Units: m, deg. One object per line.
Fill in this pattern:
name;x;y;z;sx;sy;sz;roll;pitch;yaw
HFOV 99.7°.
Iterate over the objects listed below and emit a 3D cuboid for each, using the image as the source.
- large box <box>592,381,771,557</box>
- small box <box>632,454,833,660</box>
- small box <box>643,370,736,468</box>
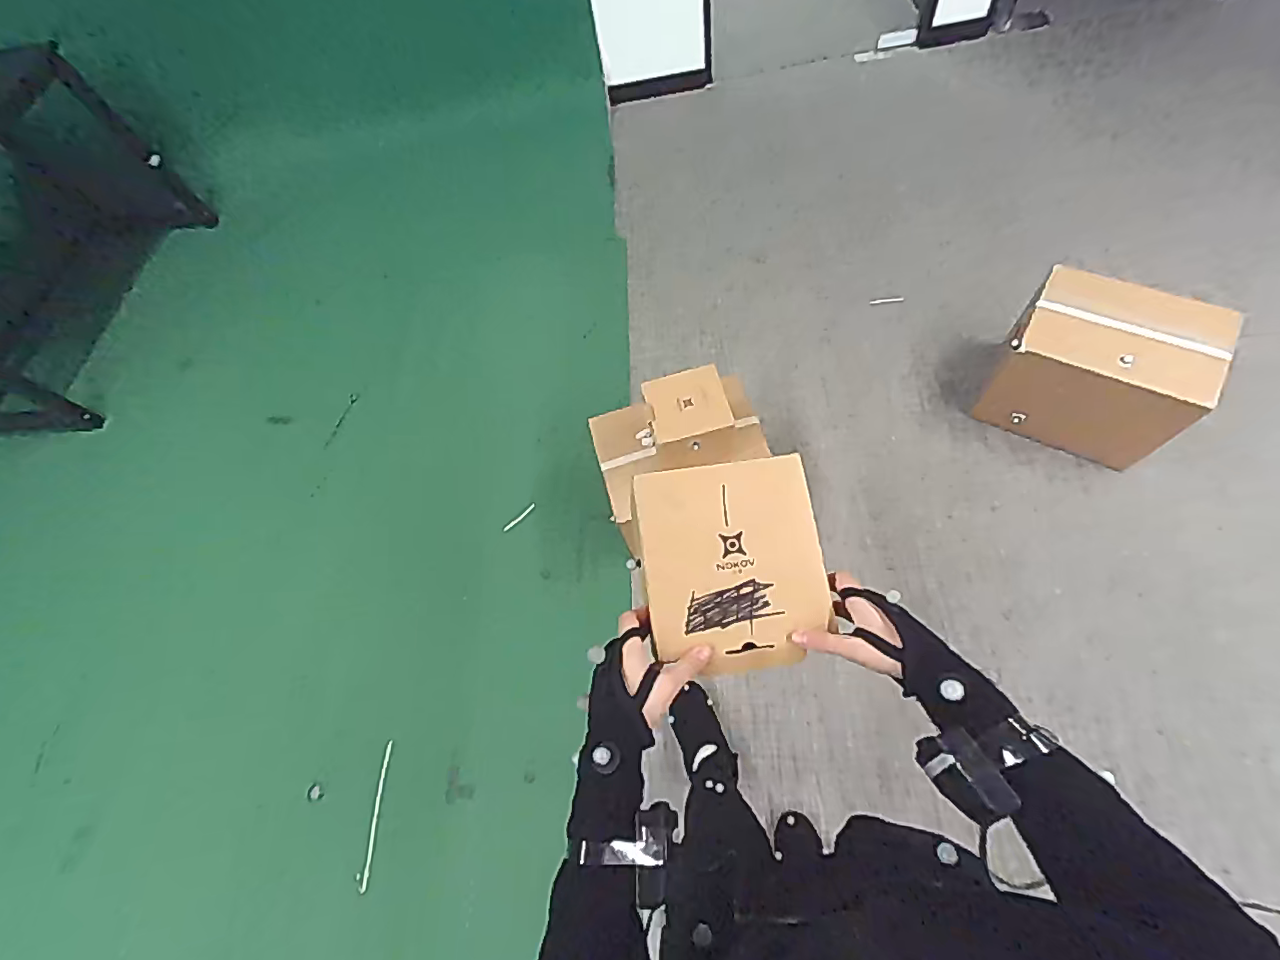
large box;0.128;-0.003;1.463;0.408;0.320;0.320;-18;61;2
small box;0.082;0.086;0.574;0.168;0.176;0.179;-6;75;-3
small box;0.117;-0.122;1.246;0.179;0.176;0.168;-15;64;2
